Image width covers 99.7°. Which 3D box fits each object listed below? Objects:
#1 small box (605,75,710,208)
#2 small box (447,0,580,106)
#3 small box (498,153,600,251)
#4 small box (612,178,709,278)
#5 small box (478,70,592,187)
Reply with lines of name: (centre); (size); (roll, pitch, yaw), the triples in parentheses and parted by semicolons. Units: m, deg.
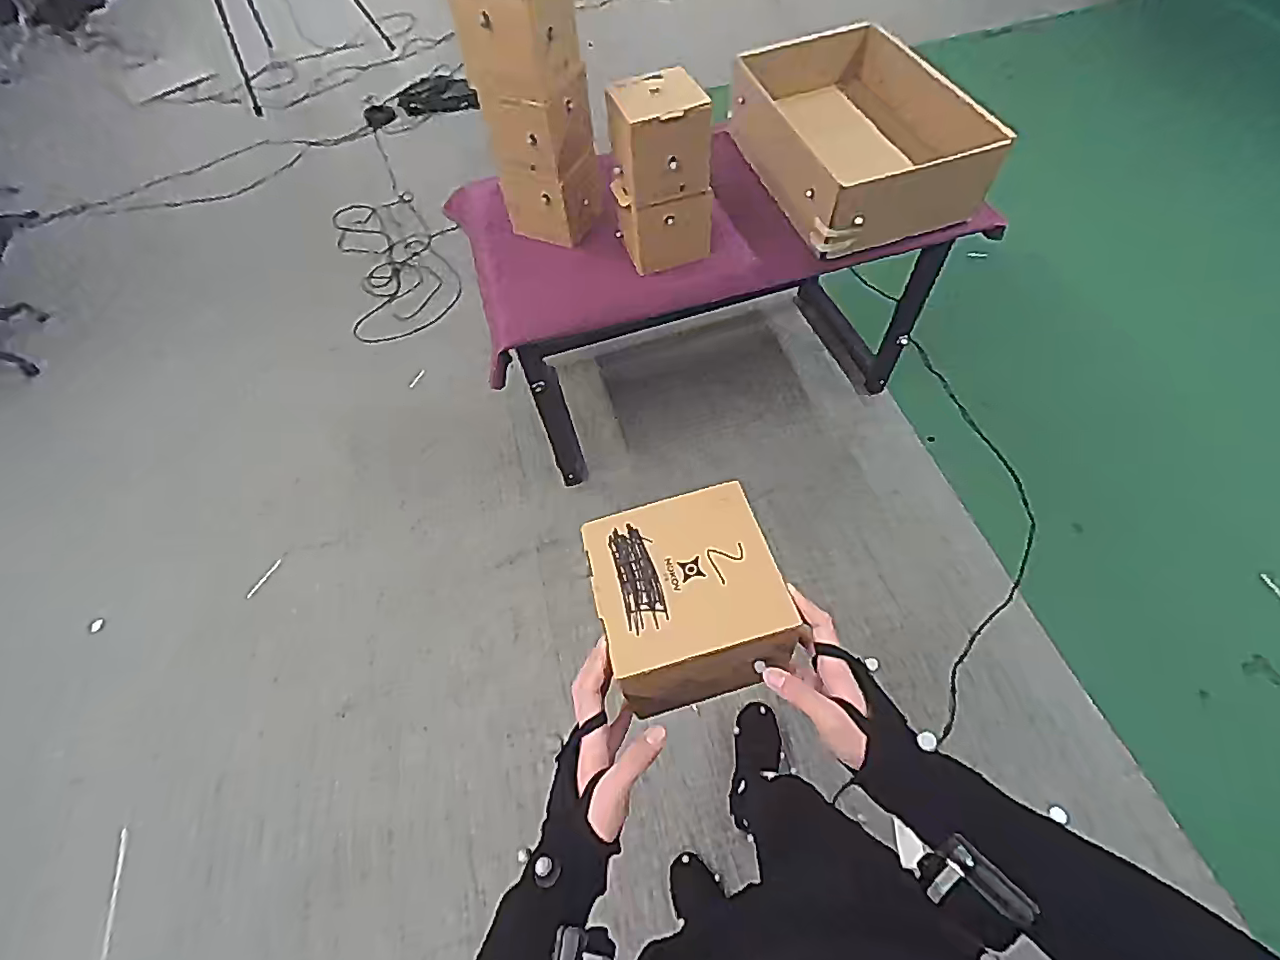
small box: (0.036, -0.686, 1.113); (0.168, 0.176, 0.179); (-17, 59, -6)
small box: (-0.233, -0.861, 1.050); (0.179, 0.176, 0.168); (20, 63, 14)
small box: (-0.213, -0.692, 1.326); (0.179, 0.176, 0.168); (21, 62, 15)
small box: (0.050, -0.597, 1.250); (0.179, 0.176, 0.168); (-18, 59, -7)
small box: (-0.218, -0.779, 1.189); (0.168, 0.176, 0.179); (22, 63, 14)
